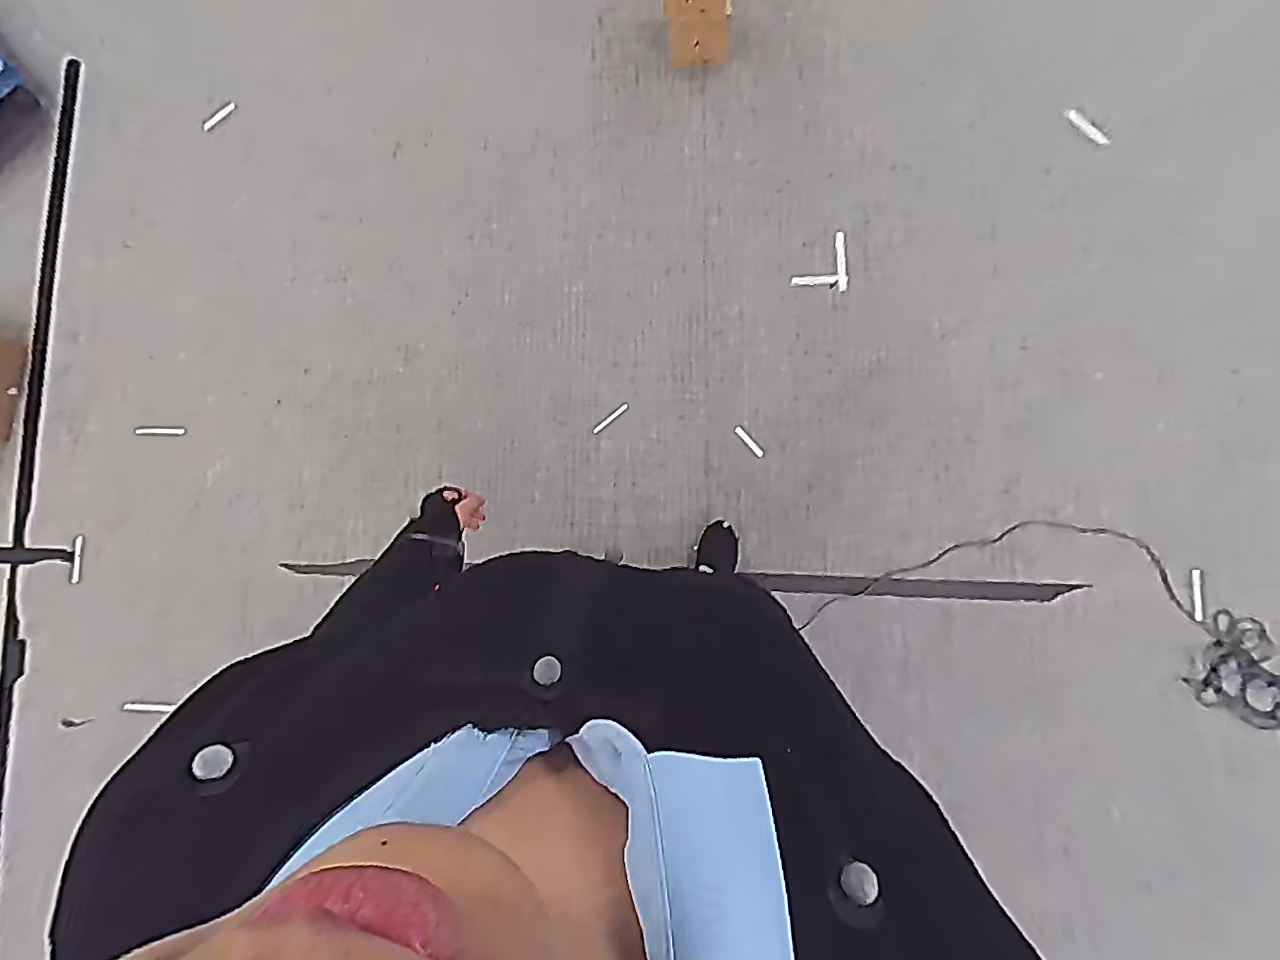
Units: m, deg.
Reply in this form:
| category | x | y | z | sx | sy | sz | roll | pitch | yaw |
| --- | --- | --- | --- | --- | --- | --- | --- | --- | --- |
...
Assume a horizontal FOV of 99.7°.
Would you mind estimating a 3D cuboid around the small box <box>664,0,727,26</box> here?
| category | x | y | z | sx | sy | sz | roll | pitch | yaw |
| --- | --- | --- | --- | --- | --- | --- | --- | --- | --- |
| small box | 0.150 | -1.332 | 1.394 | 0.168 | 0.176 | 0.179 | 5 | 86 | 4 |

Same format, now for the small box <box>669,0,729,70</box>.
| category | x | y | z | sx | sy | sz | roll | pitch | yaw |
| --- | --- | --- | --- | --- | --- | --- | --- | --- | --- |
| small box | 0.166 | -1.321 | 1.556 | 0.168 | 0.176 | 0.179 | -1 | 84 | 3 |
